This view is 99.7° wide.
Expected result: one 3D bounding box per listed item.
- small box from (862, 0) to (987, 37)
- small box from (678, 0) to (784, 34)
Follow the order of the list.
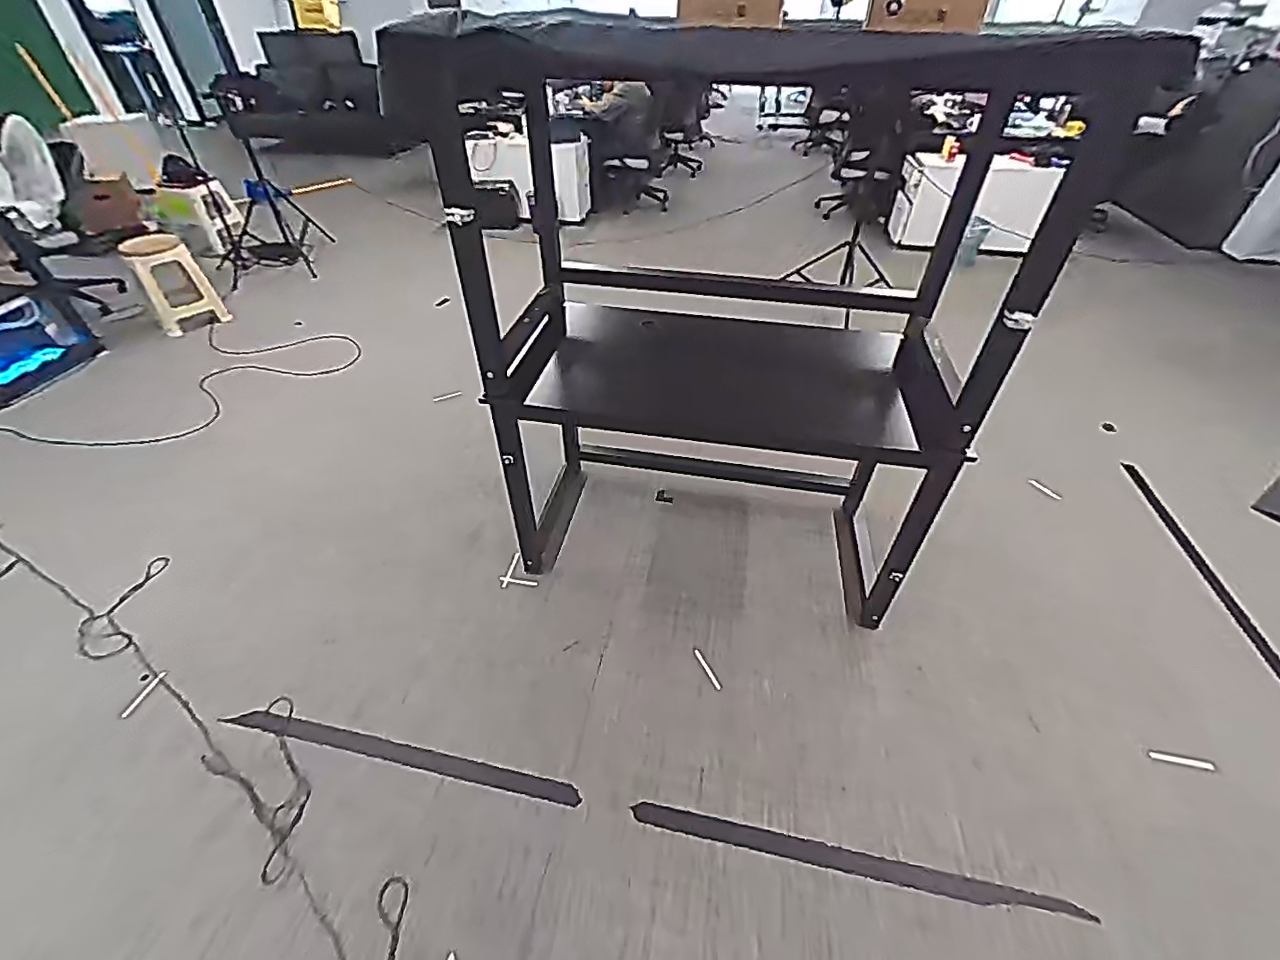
[{"bbox_3d":[0.451,-0.798,0.835,0.168,0.176,0.179,10,41,11],"label":"small box"},{"bbox_3d":[0.157,-0.837,0.874,0.168,0.176,0.179,8,40,9],"label":"small box"}]
